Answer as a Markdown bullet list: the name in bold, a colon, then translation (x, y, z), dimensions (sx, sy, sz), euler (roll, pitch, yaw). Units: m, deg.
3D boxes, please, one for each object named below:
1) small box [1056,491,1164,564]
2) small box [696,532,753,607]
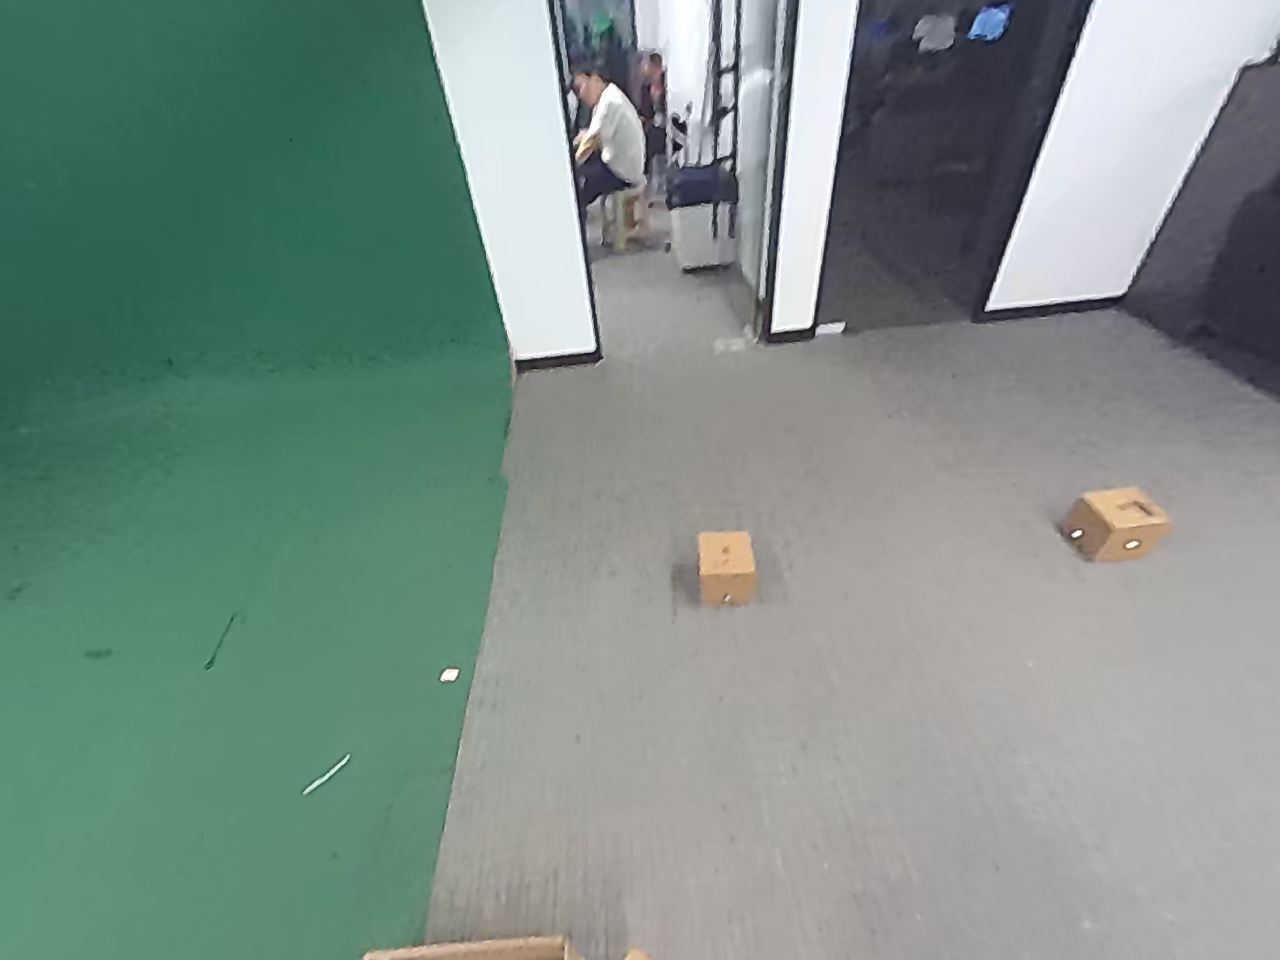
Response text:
- **small box**: translation (1.531, 0.158, 1.775), dimensions (0.179, 0.176, 0.168), euler (-6, 41, 1)
- **small box**: translation (0.268, 0.289, 1.748), dimensions (0.168, 0.176, 0.179), euler (-3, 41, 4)
